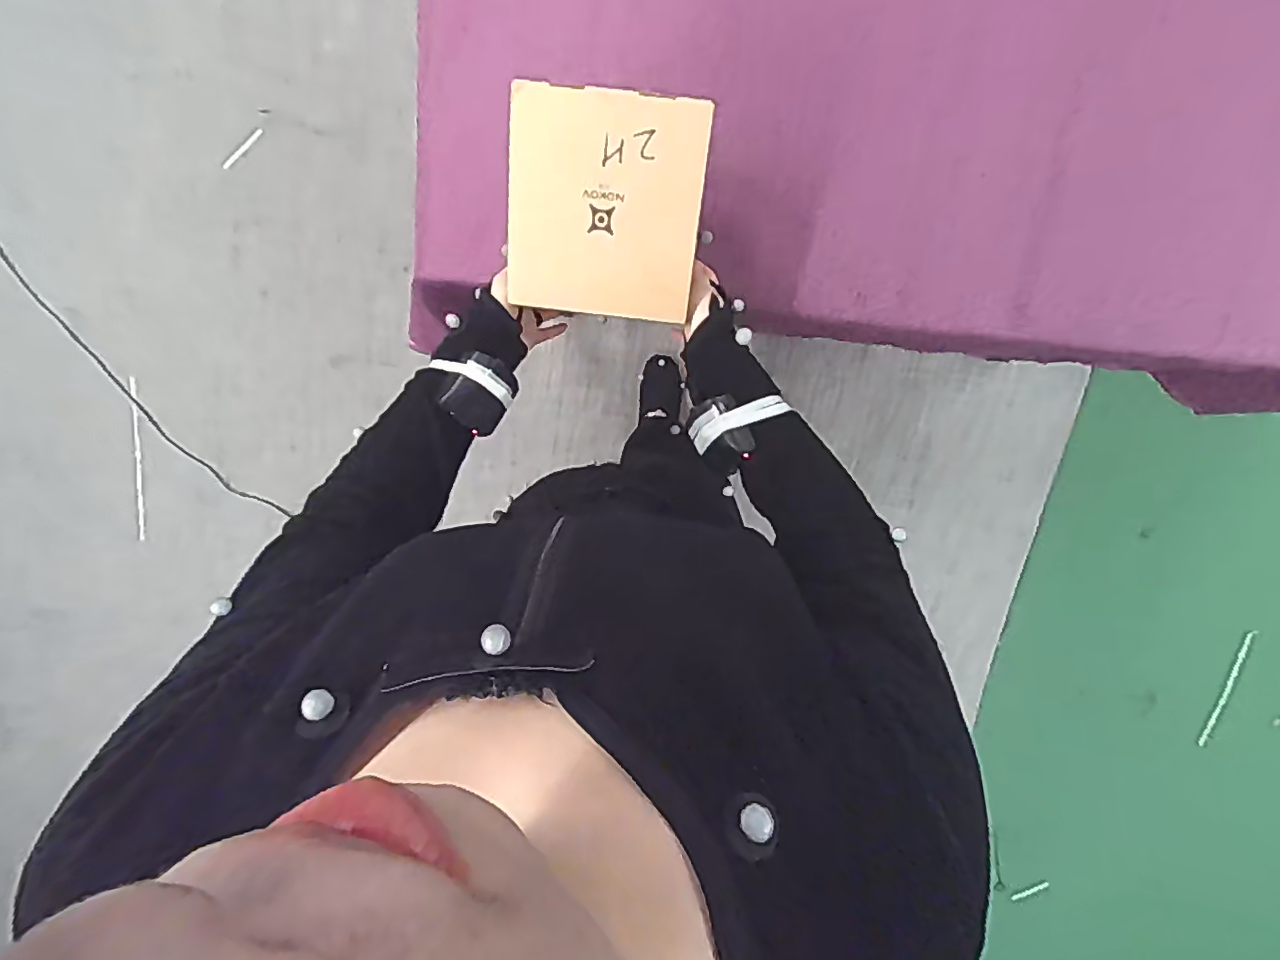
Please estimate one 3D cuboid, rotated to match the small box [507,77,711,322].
[{"bbox_3d":[-0.026,-0.261,0.538,0.168,0.176,0.179,7,110,2],"label":"small box"}]
